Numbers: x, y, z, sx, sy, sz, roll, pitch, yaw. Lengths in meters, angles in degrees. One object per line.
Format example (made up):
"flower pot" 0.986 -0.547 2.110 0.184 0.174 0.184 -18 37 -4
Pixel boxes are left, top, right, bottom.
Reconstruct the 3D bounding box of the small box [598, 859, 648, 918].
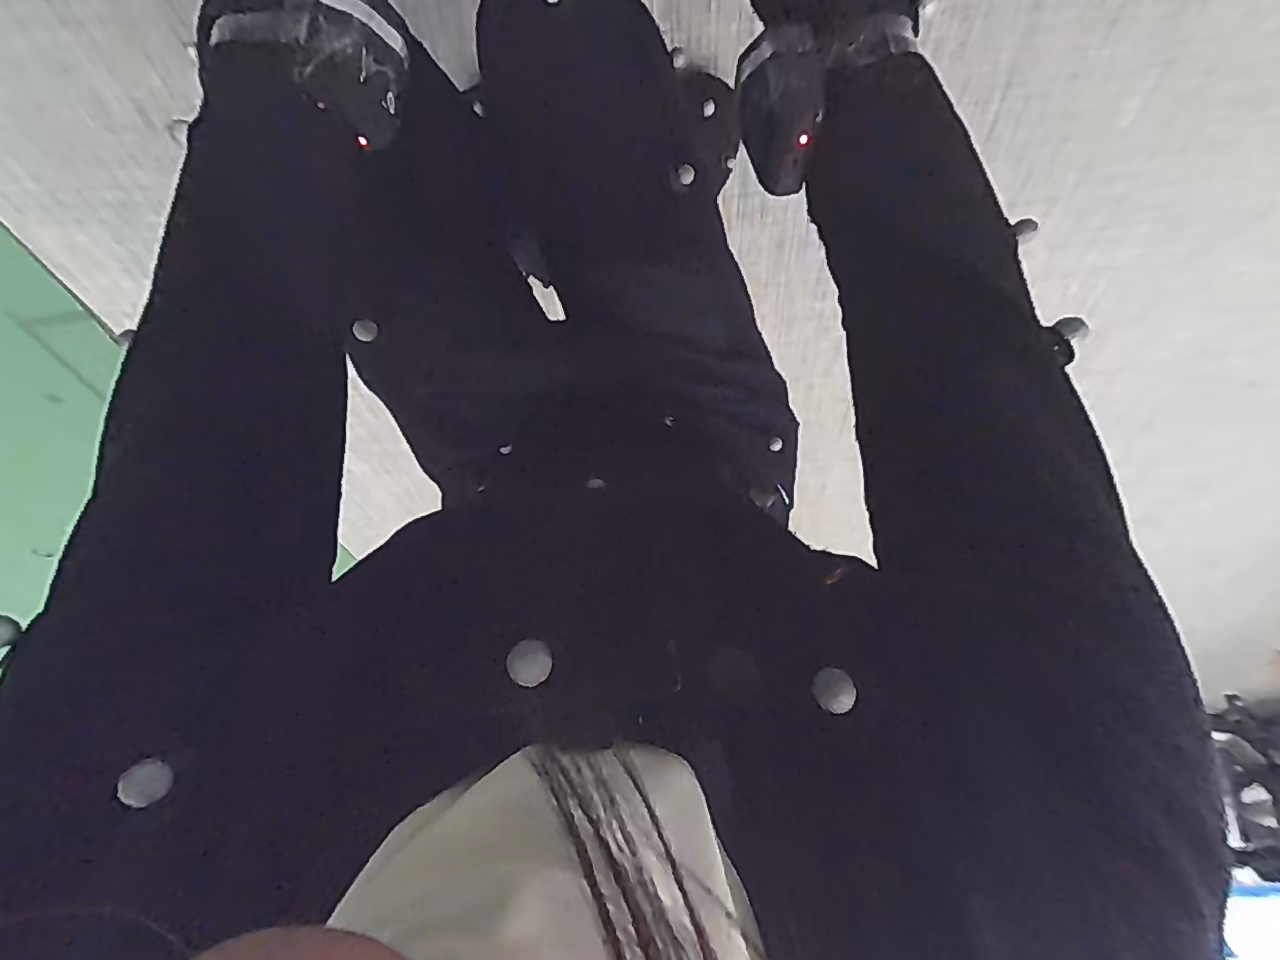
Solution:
"small box" -0.059 1.558 2.062 0.179 0.176 0.168 -3 144 3
